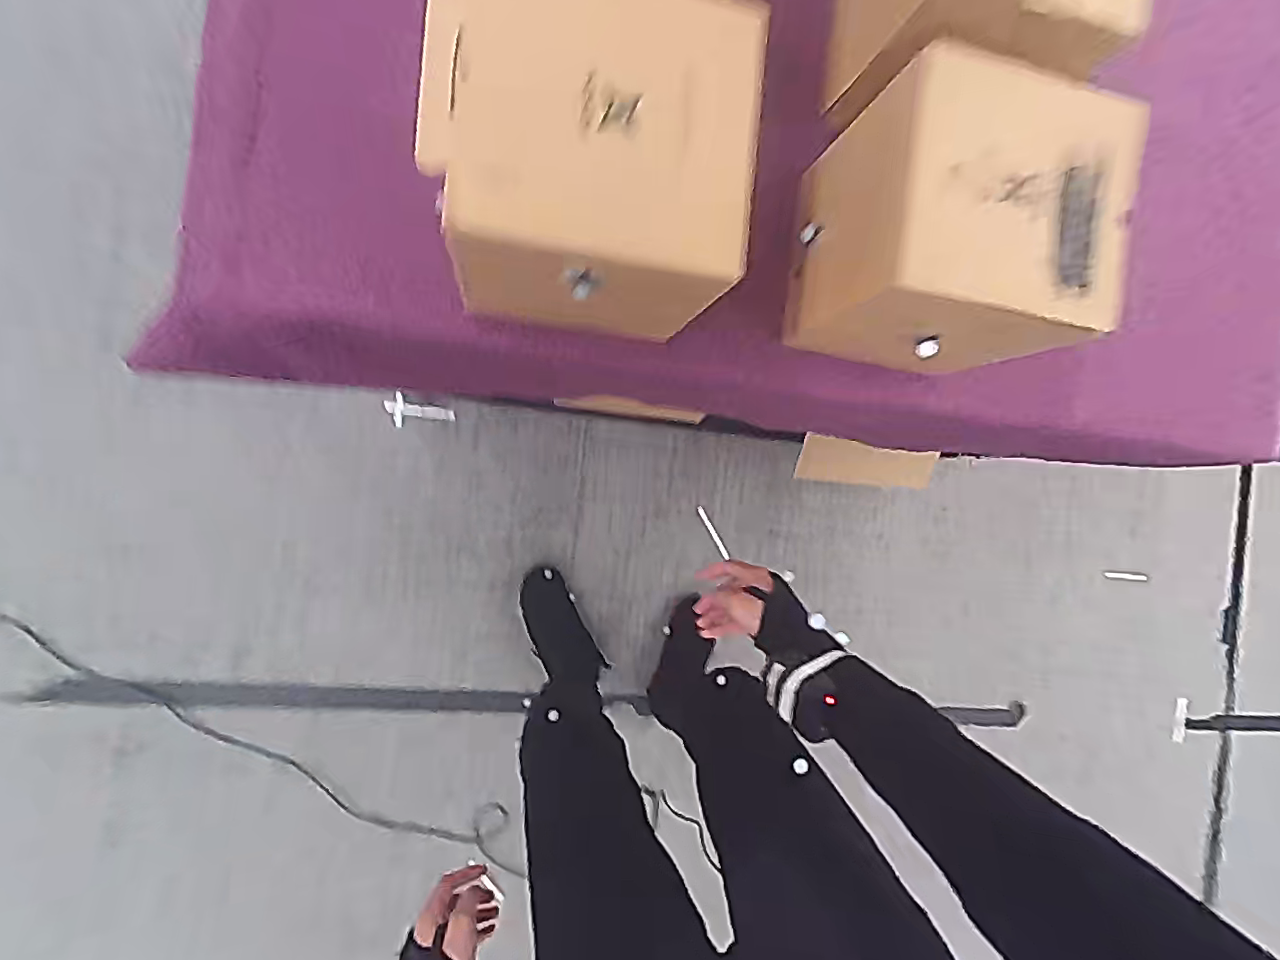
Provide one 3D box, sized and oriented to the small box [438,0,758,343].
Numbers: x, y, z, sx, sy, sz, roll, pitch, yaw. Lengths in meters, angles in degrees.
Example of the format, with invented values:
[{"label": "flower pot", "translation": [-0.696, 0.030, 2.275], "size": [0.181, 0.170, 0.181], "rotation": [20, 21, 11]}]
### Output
[{"label": "small box", "translation": [-0.036, -0.206, 0.390], "size": [0.179, 0.176, 0.168], "rotation": [5, 90, -13]}]
